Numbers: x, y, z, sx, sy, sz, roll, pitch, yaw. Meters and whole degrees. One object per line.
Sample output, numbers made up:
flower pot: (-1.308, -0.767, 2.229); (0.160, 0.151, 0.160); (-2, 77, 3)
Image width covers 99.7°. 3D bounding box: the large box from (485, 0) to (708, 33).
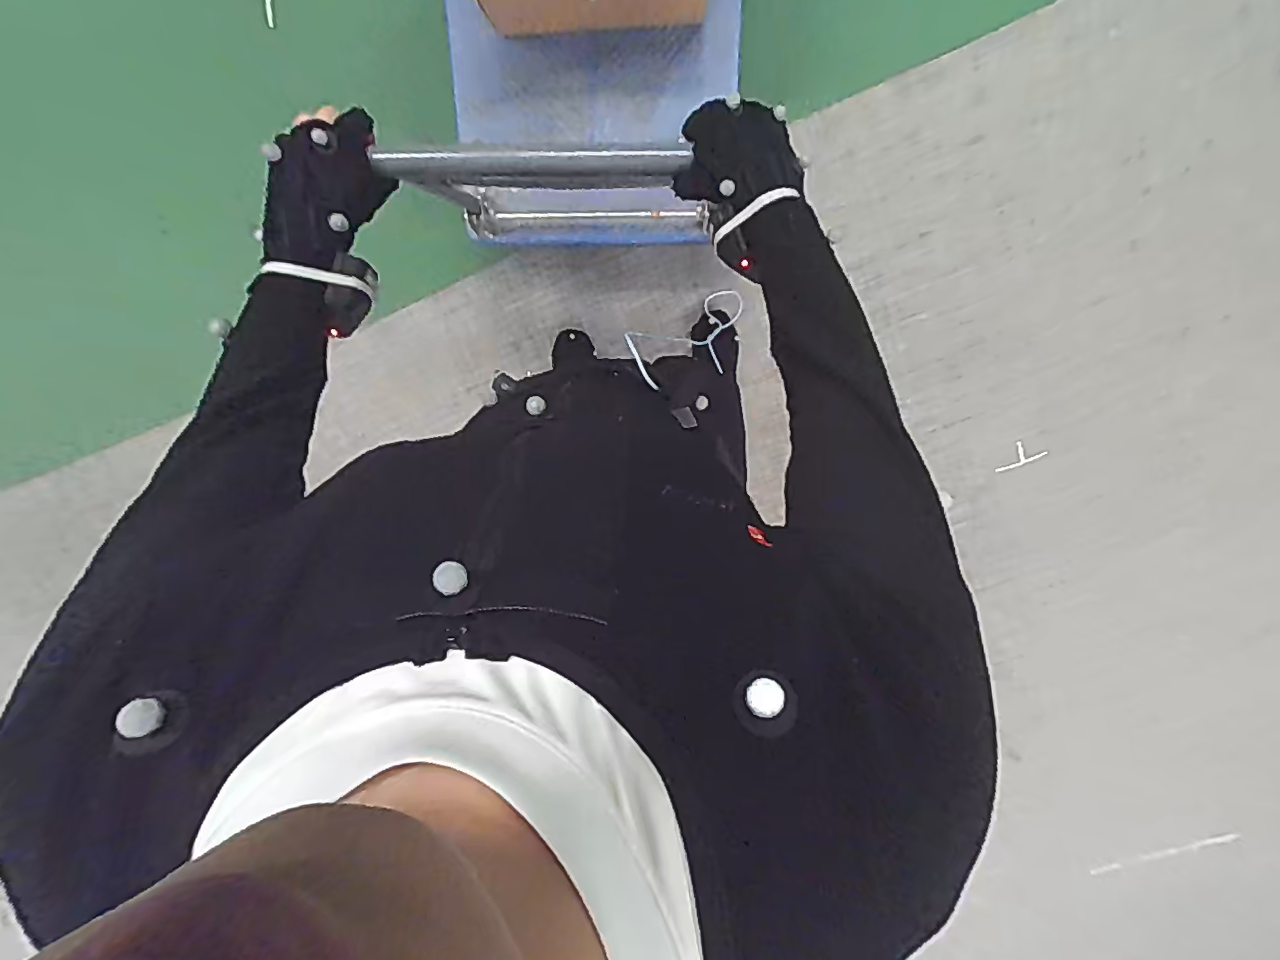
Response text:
large box: (-0.086, -0.985, 0.867); (0.408, 0.320, 0.320); (-2, 106, 4)
